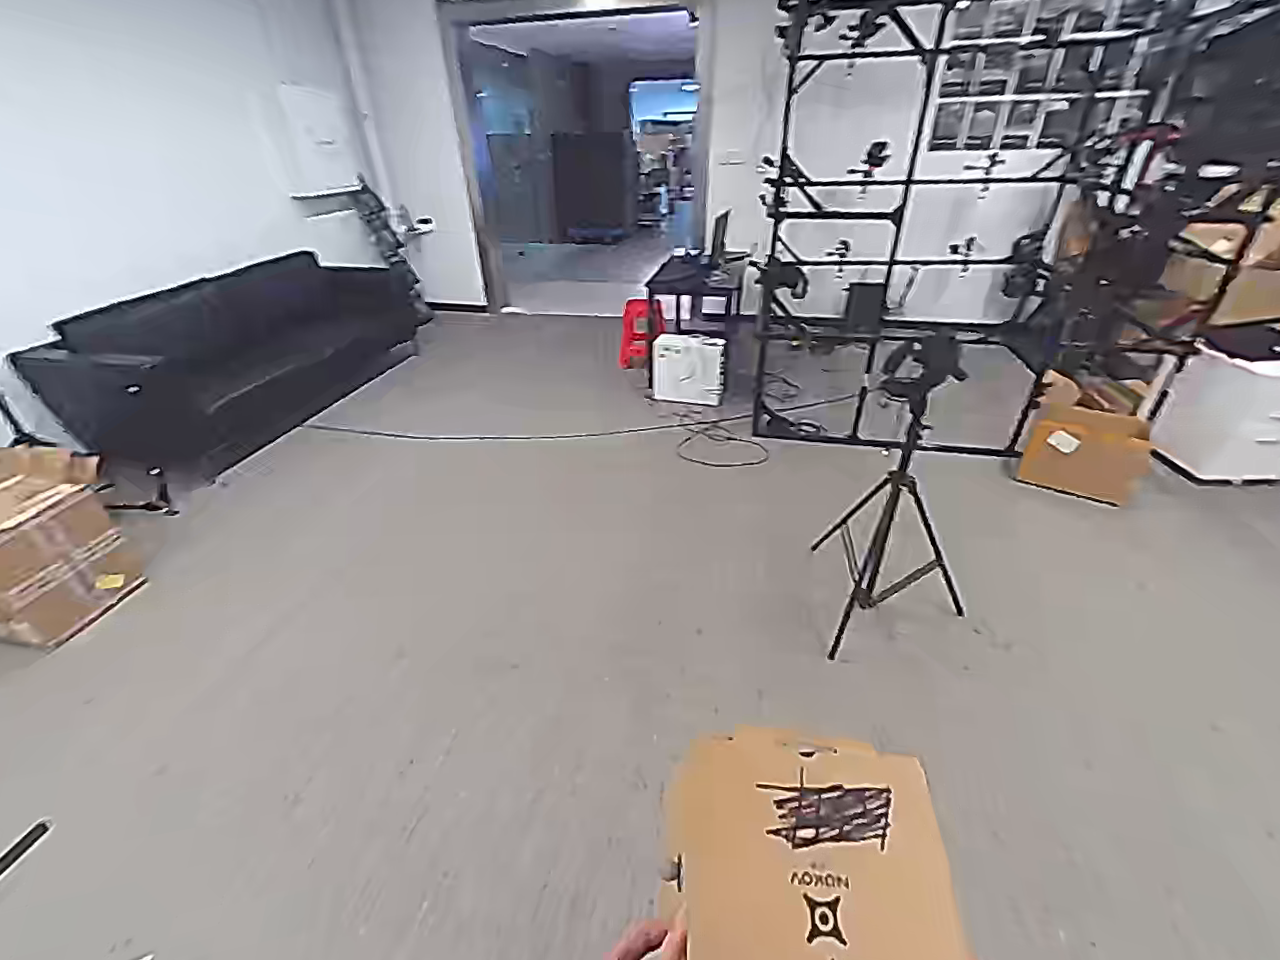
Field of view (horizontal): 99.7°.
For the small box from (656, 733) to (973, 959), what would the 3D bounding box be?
[{"bbox_3d":[0.100,0.301,0.376,0.168,0.176,0.179,5,48,-1],"label":"small box"}]
